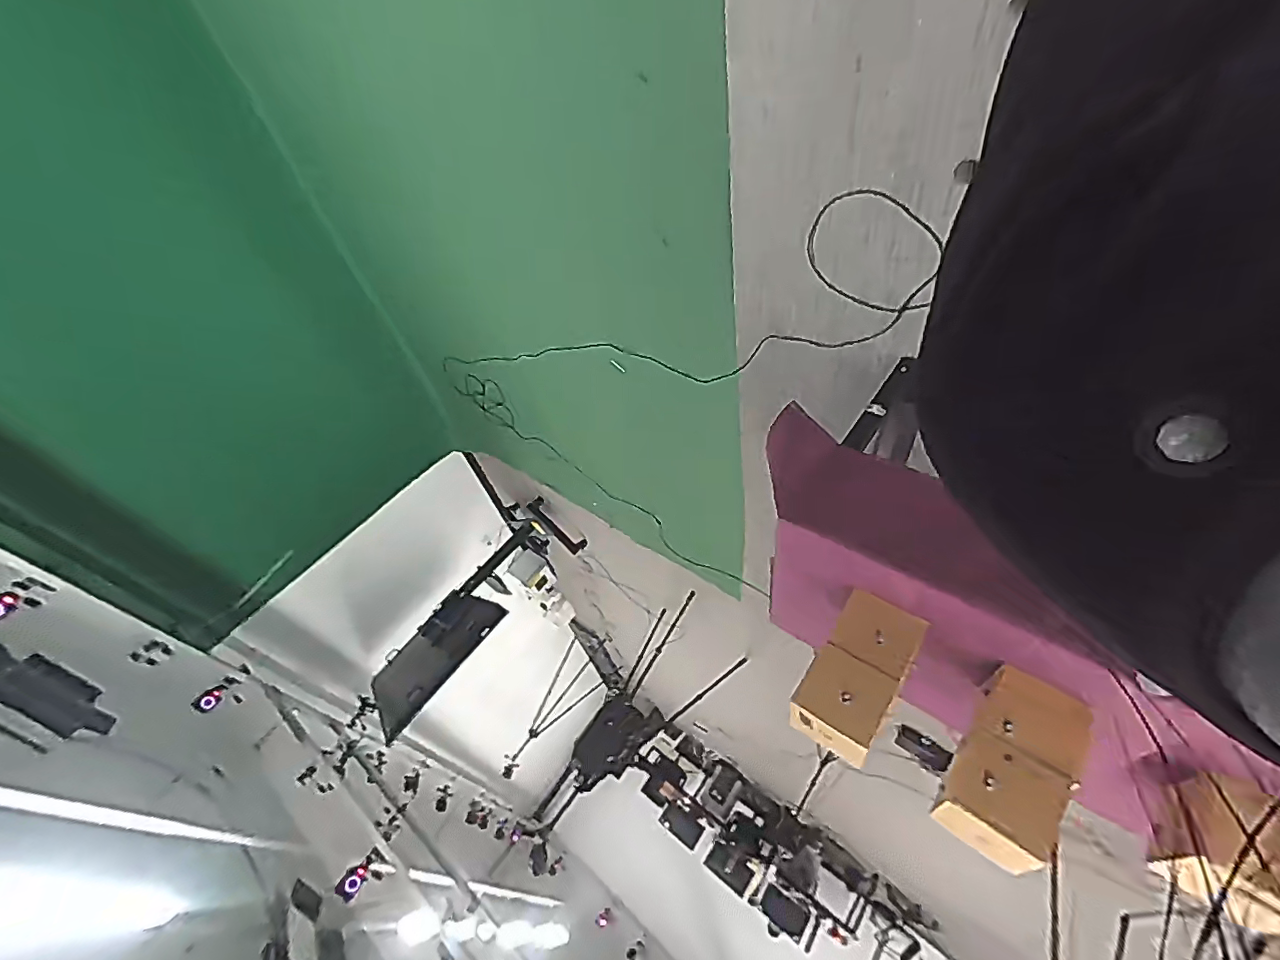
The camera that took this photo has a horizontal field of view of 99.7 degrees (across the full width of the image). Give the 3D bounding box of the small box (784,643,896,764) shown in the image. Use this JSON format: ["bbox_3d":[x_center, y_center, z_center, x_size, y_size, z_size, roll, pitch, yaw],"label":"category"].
[{"bbox_3d":[0.446,0.496,1.224,0.179,0.176,0.168,26,150,30],"label":"small box"}]

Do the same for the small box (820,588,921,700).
[{"bbox_3d":[0.548,0.389,1.298,0.179,0.176,0.168,25,149,31],"label":"small box"}]

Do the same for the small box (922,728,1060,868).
[{"bbox_3d":[0.697,0.628,1.078,0.168,0.176,0.179,29,152,31],"label":"small box"}]

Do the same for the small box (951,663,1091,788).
[{"bbox_3d":[0.804,0.525,1.144,0.179,0.176,0.168,29,152,29],"label":"small box"}]
